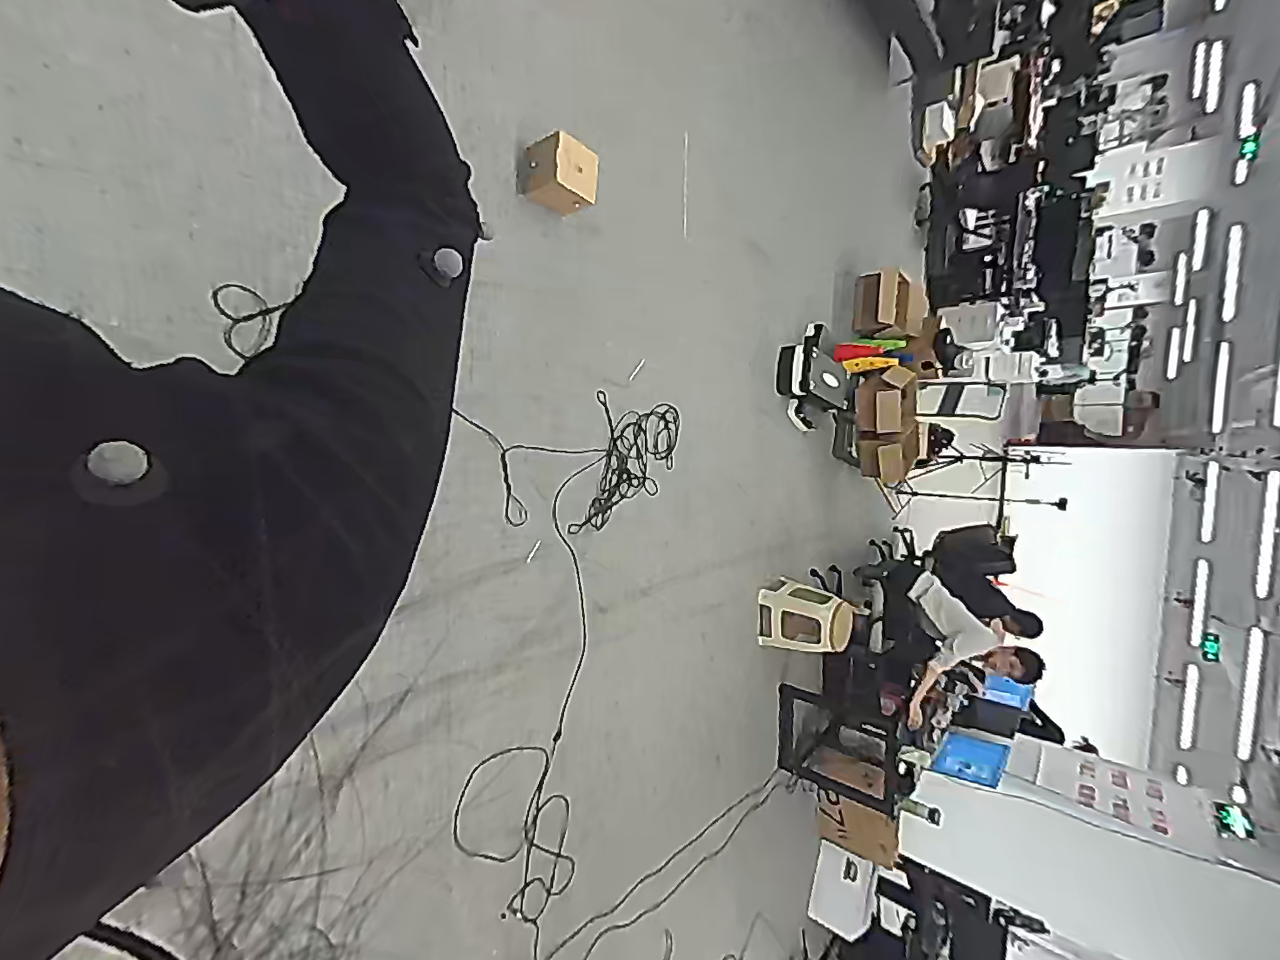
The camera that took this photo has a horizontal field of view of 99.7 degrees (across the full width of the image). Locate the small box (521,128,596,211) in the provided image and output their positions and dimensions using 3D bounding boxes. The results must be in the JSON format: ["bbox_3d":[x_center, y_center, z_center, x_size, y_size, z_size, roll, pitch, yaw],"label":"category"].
[{"bbox_3d":[-0.271,-1.025,1.808,0.179,0.176,0.168,5,90,-50],"label":"small box"}]
